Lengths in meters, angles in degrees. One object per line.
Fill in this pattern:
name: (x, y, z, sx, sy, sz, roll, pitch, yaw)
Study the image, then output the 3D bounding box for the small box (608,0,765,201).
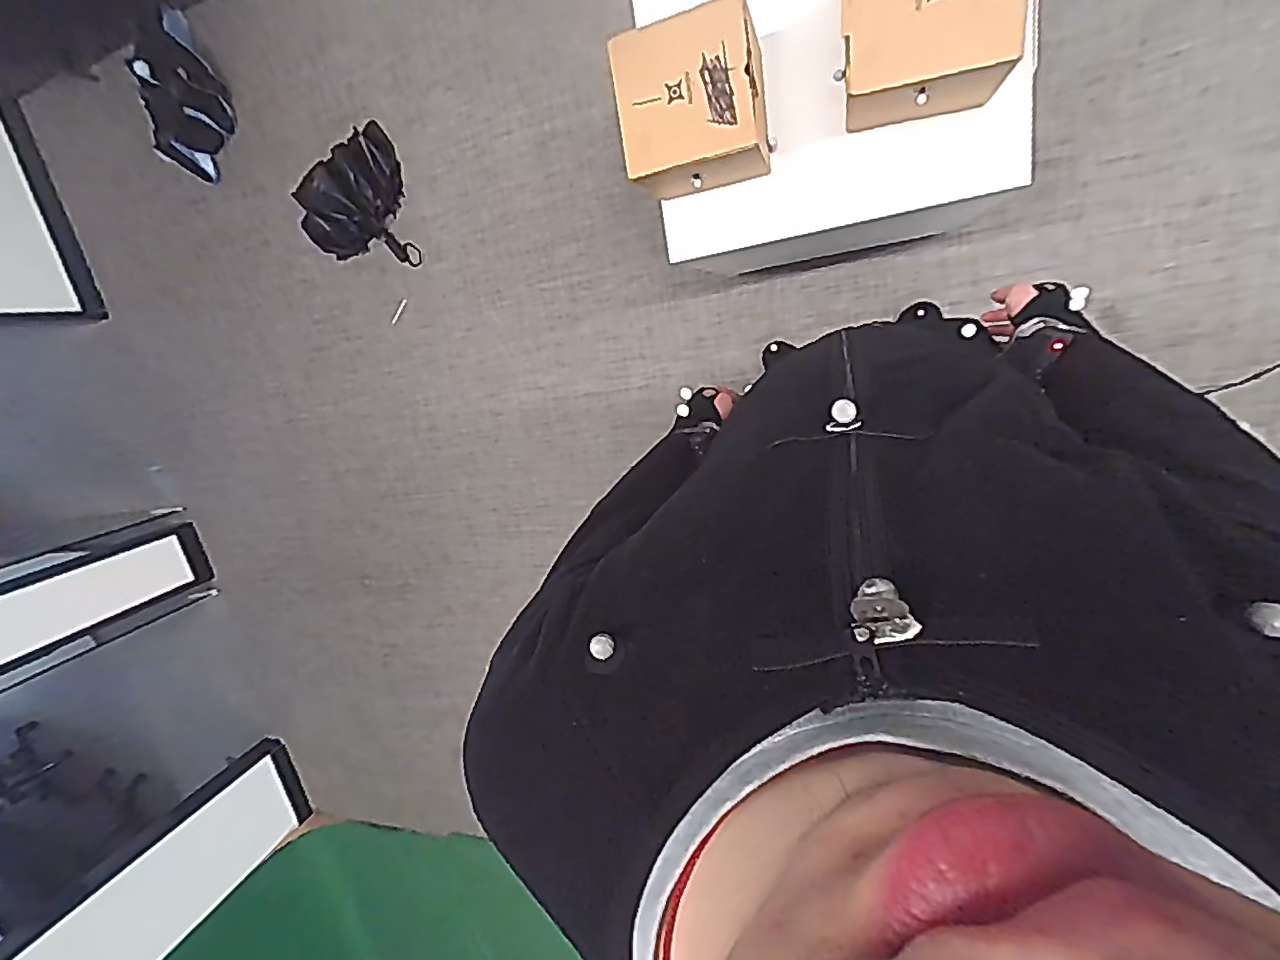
small box: (0.077, -0.506, 0.752, 0.179, 0.176, 0.168, -3, 106, 21)

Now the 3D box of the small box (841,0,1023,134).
small box: (0.337, -0.541, 0.649, 0.179, 0.176, 0.168, 0, 109, 20)
